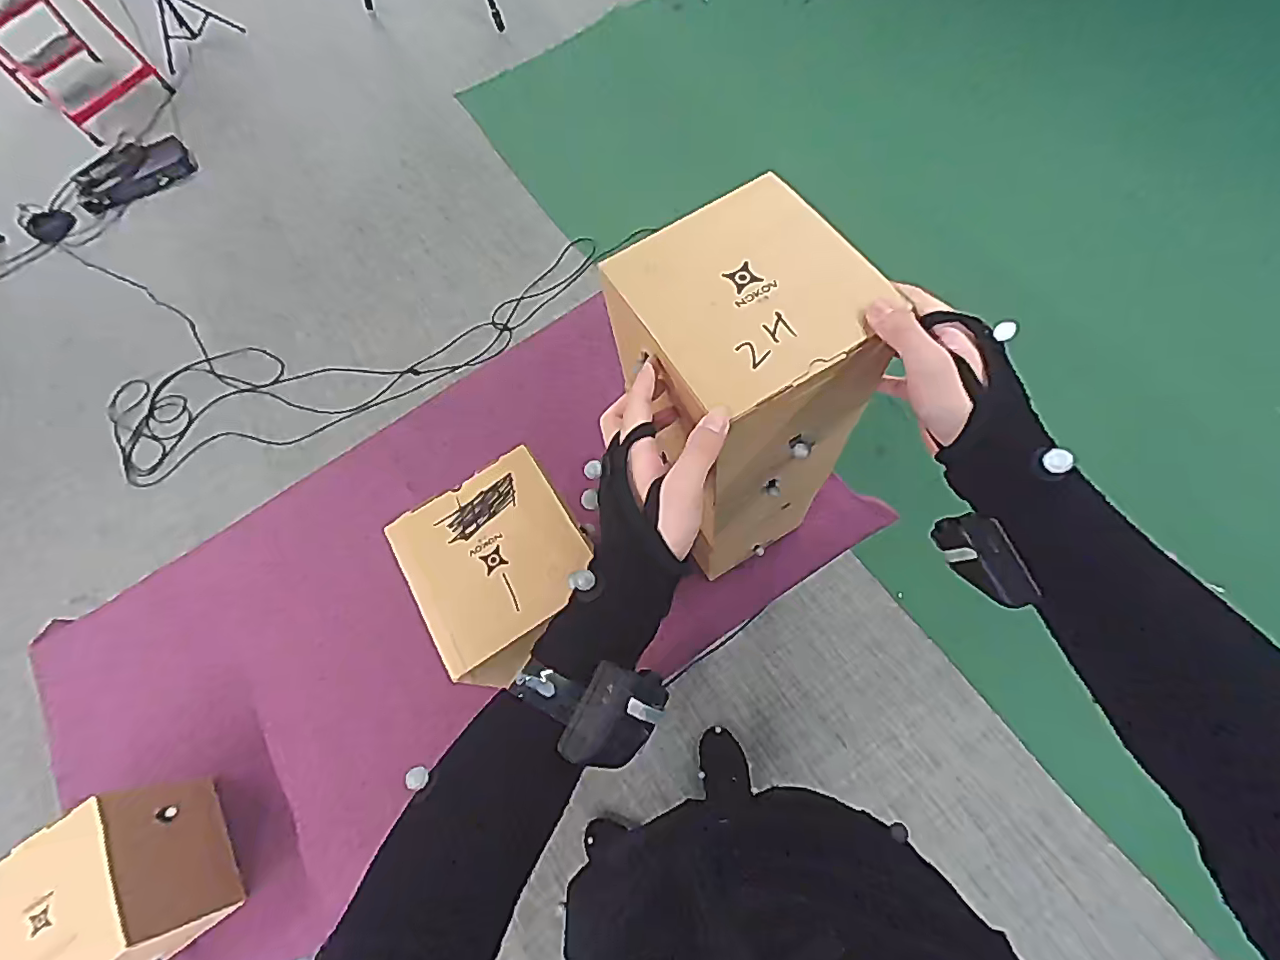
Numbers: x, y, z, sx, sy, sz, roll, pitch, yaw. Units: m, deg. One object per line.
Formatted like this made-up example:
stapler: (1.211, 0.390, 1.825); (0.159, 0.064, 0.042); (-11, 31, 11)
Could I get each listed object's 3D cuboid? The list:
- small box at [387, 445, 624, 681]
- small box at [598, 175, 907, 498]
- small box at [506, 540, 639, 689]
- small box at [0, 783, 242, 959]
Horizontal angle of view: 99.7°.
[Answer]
small box: (-0.135, 0.100, 0.592); (0.168, 0.176, 0.179); (-32, 68, -7)
small box: (0.084, -0.113, 0.472); (0.168, 0.176, 0.179); (-30, 68, -5)
small box: (-0.117, 0.165, 0.742); (0.168, 0.176, 0.179); (-33, 67, -7)
small box: (-0.641, 0.499, 0.660); (0.168, 0.176, 0.179); (-35, 68, -8)
